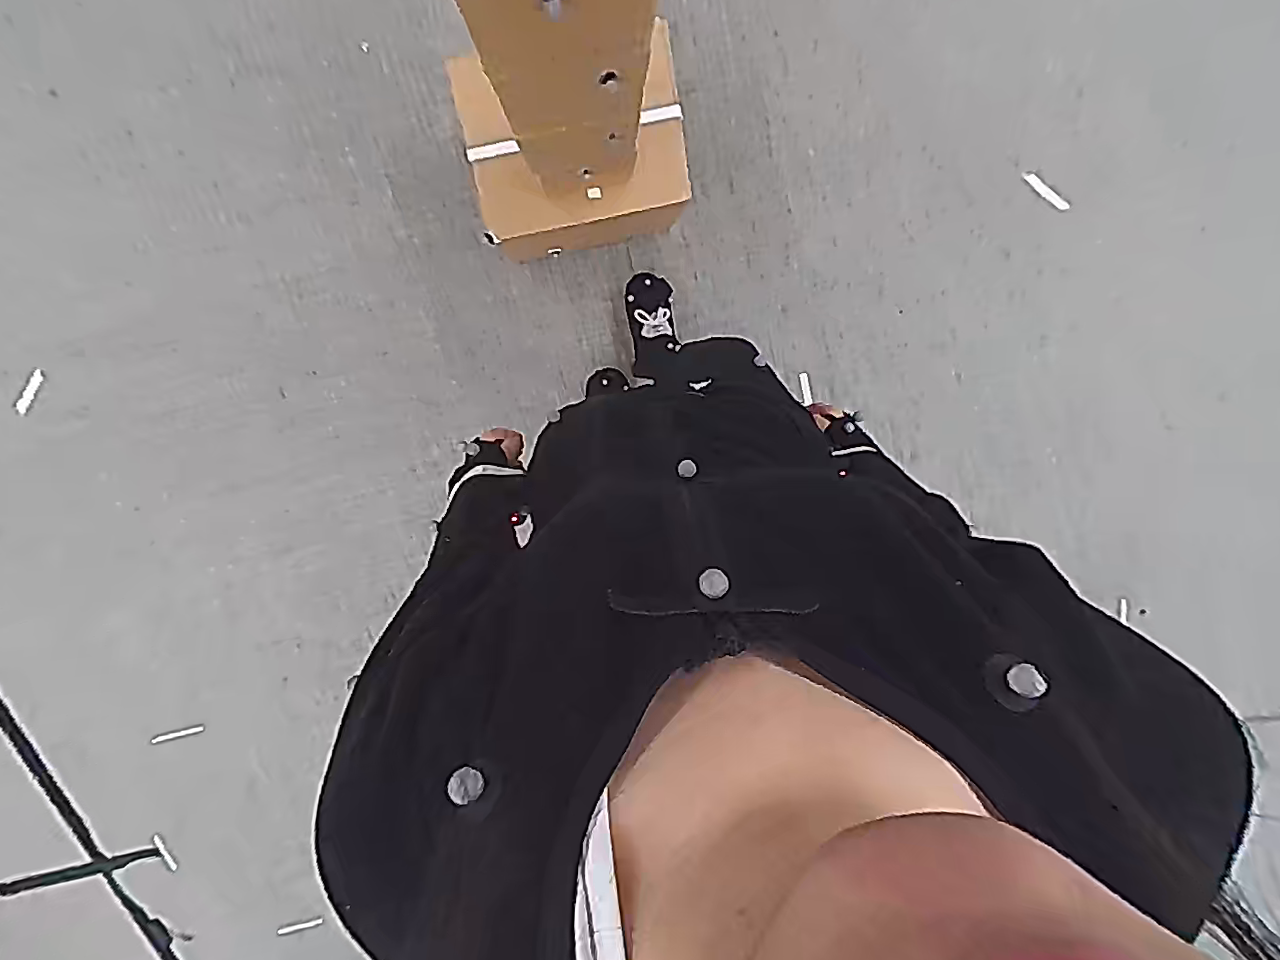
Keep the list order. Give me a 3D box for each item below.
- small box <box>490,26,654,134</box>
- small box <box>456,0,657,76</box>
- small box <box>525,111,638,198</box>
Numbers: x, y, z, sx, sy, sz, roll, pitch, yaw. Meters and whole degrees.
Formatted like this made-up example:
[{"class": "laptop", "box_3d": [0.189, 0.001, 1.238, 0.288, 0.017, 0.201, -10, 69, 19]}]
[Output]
[{"class": "small box", "box_3d": [-0.090, -0.529, 0.624, 0.179, 0.176, 0.168, -11, 105, -1]}, {"class": "small box", "box_3d": [-0.079, -0.489, 0.468, 0.179, 0.176, 0.168, -11, 106, -1]}, {"class": "small box", "box_3d": [-0.109, -0.612, 0.941, 0.179, 0.176, 0.168, -15, 106, -1]}]
